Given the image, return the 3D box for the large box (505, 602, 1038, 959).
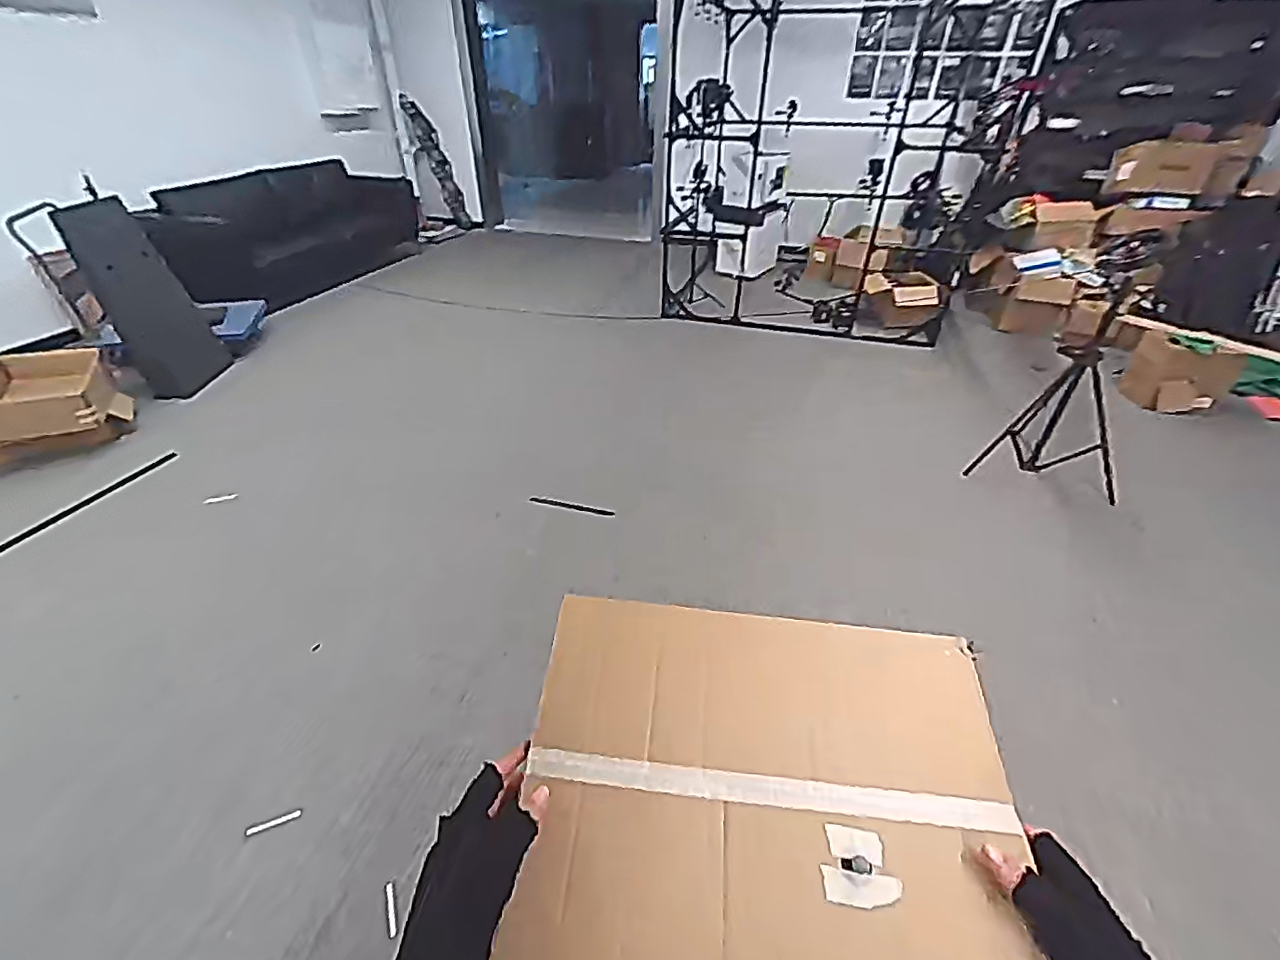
[{"bbox_3d":[0.105,0.358,0.587,0.408,0.320,0.320,6,52,3],"label":"large box"}]
